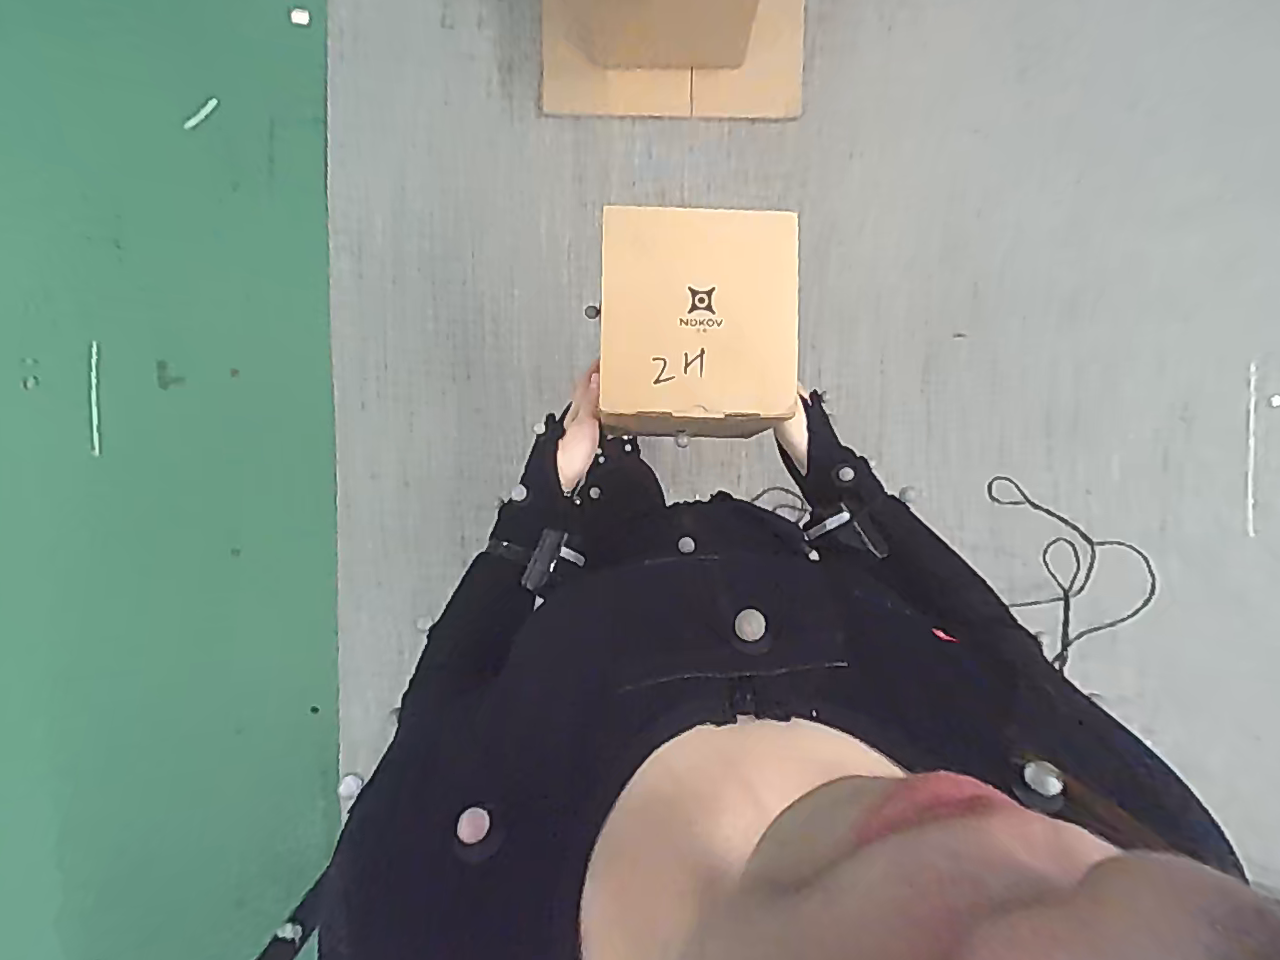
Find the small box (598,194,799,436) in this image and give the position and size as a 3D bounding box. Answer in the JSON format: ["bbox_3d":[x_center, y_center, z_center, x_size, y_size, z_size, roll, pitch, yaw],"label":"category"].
[{"bbox_3d":[0.046,-0.143,0.525,0.168,0.176,0.179,1,87,-2],"label":"small box"}]
